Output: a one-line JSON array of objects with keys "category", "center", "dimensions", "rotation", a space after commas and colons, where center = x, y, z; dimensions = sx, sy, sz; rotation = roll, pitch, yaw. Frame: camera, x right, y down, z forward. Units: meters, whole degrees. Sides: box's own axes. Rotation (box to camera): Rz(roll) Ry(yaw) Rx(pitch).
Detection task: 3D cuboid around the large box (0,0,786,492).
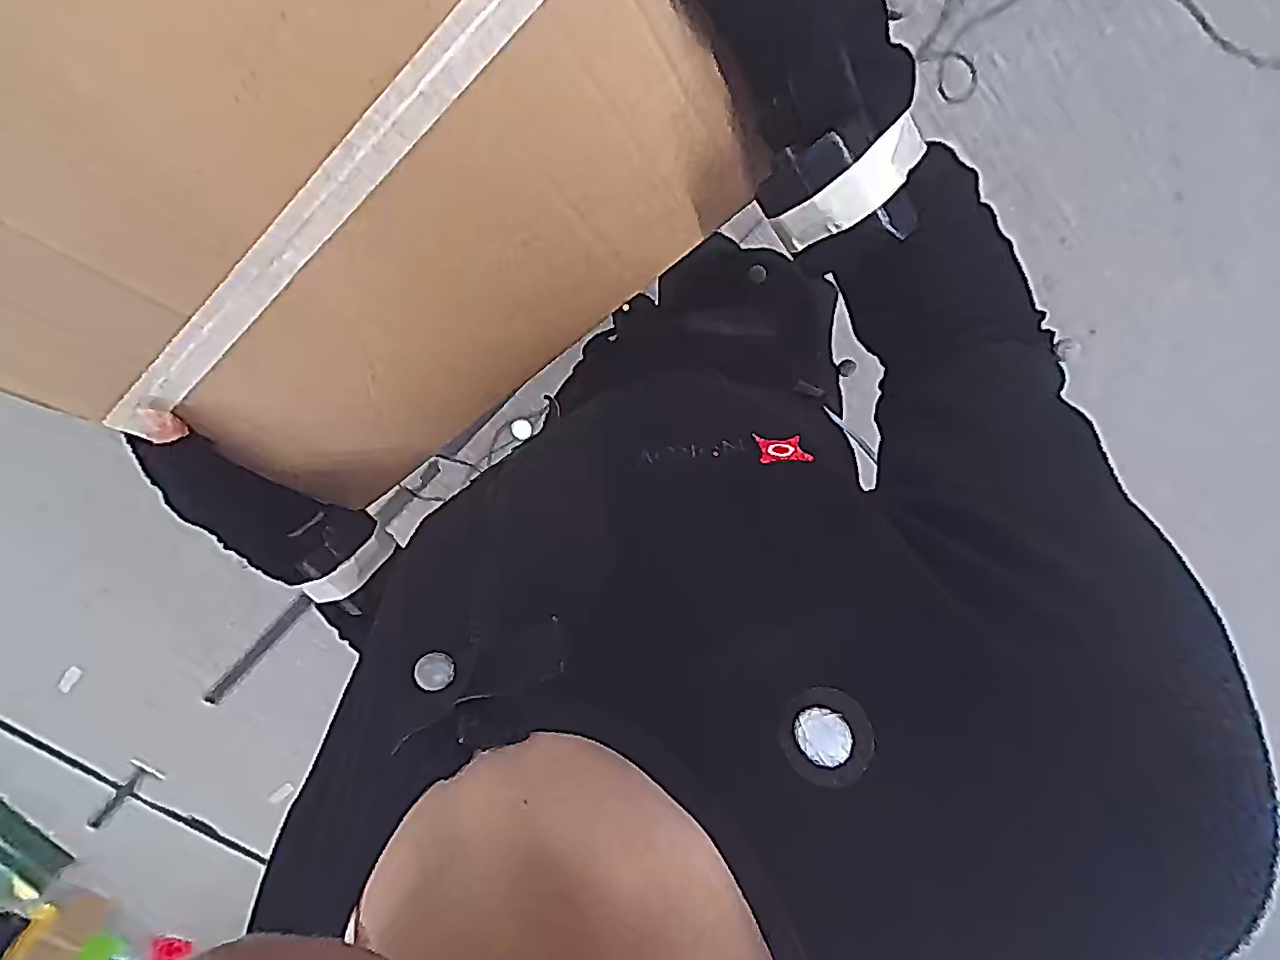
[{"category": "large box", "center": [-0.186, -0.261, 0.359], "dimensions": [0.408, 0.320, 0.320], "rotation": [-32, 142, 19]}]
